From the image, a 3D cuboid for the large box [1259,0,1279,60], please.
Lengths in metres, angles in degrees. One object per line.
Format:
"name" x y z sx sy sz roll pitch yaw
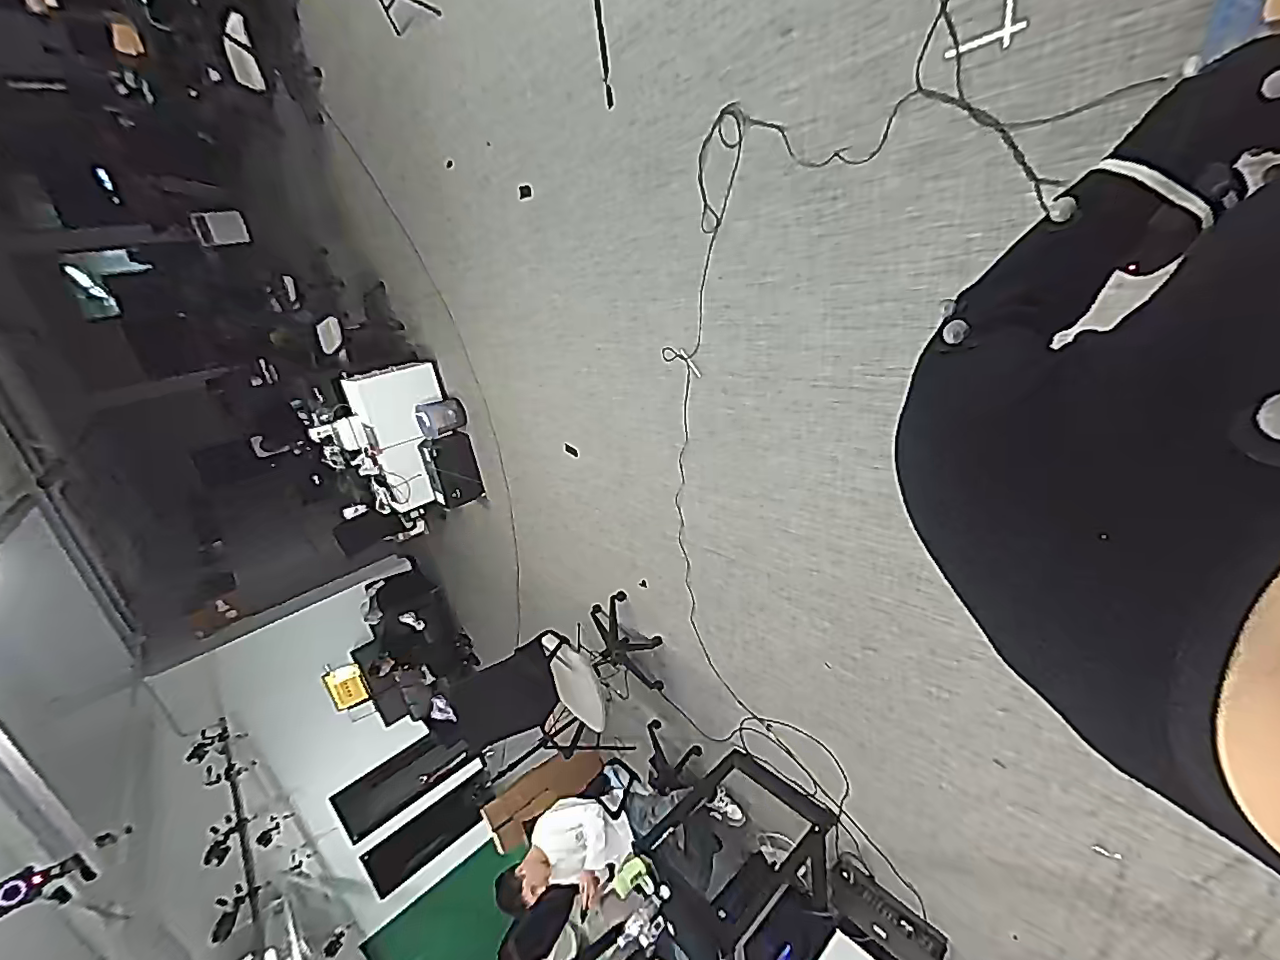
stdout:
"large box" 0.895 -0.649 0.486 0.408 0.320 0.320 15 123 46
